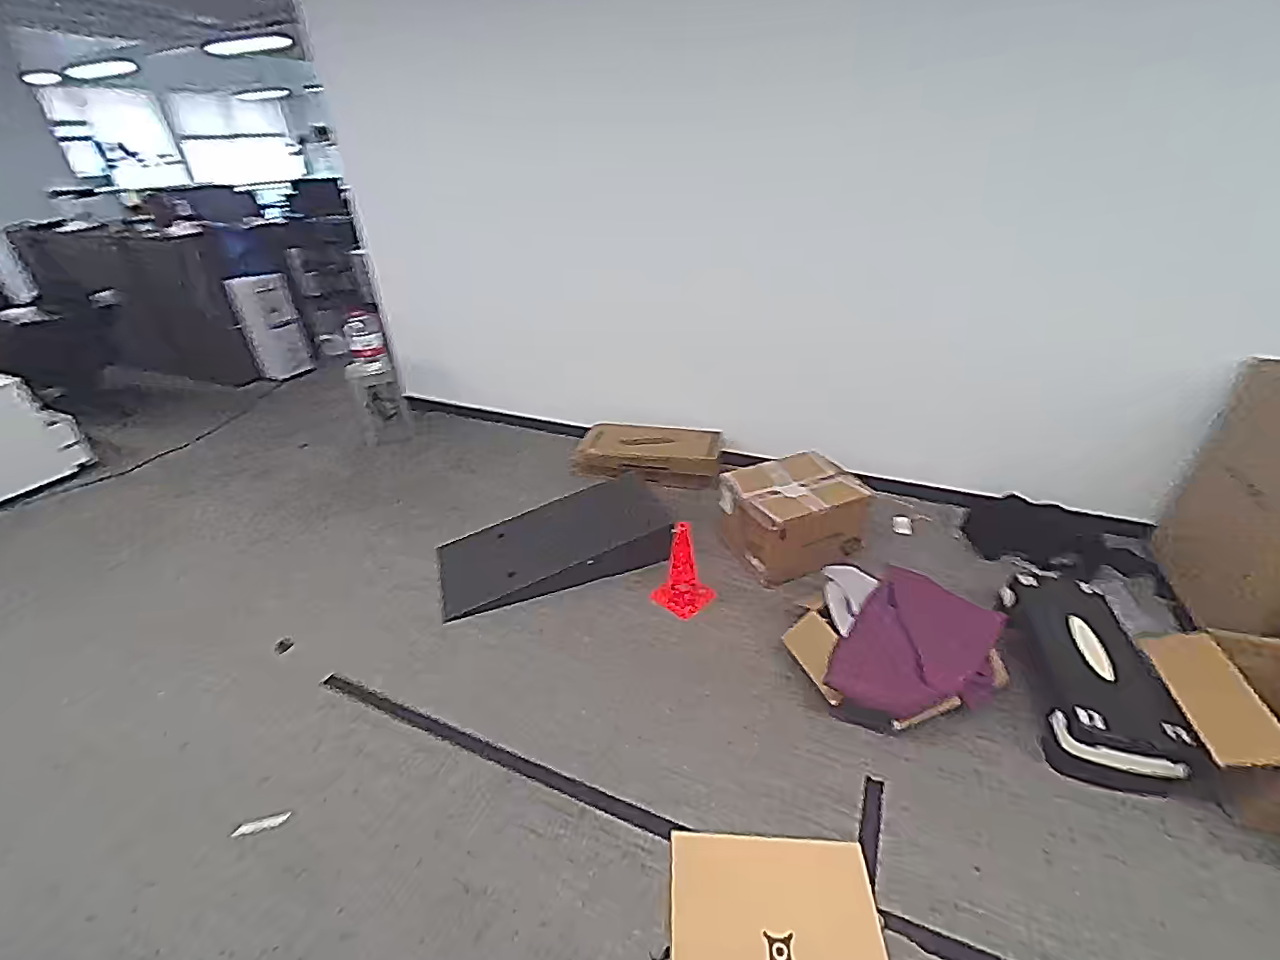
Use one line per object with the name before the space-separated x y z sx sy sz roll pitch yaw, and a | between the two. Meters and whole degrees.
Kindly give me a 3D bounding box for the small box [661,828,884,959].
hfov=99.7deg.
small box | 0.102 0.427 0.453 0.168 0.176 0.179 2 37 2
